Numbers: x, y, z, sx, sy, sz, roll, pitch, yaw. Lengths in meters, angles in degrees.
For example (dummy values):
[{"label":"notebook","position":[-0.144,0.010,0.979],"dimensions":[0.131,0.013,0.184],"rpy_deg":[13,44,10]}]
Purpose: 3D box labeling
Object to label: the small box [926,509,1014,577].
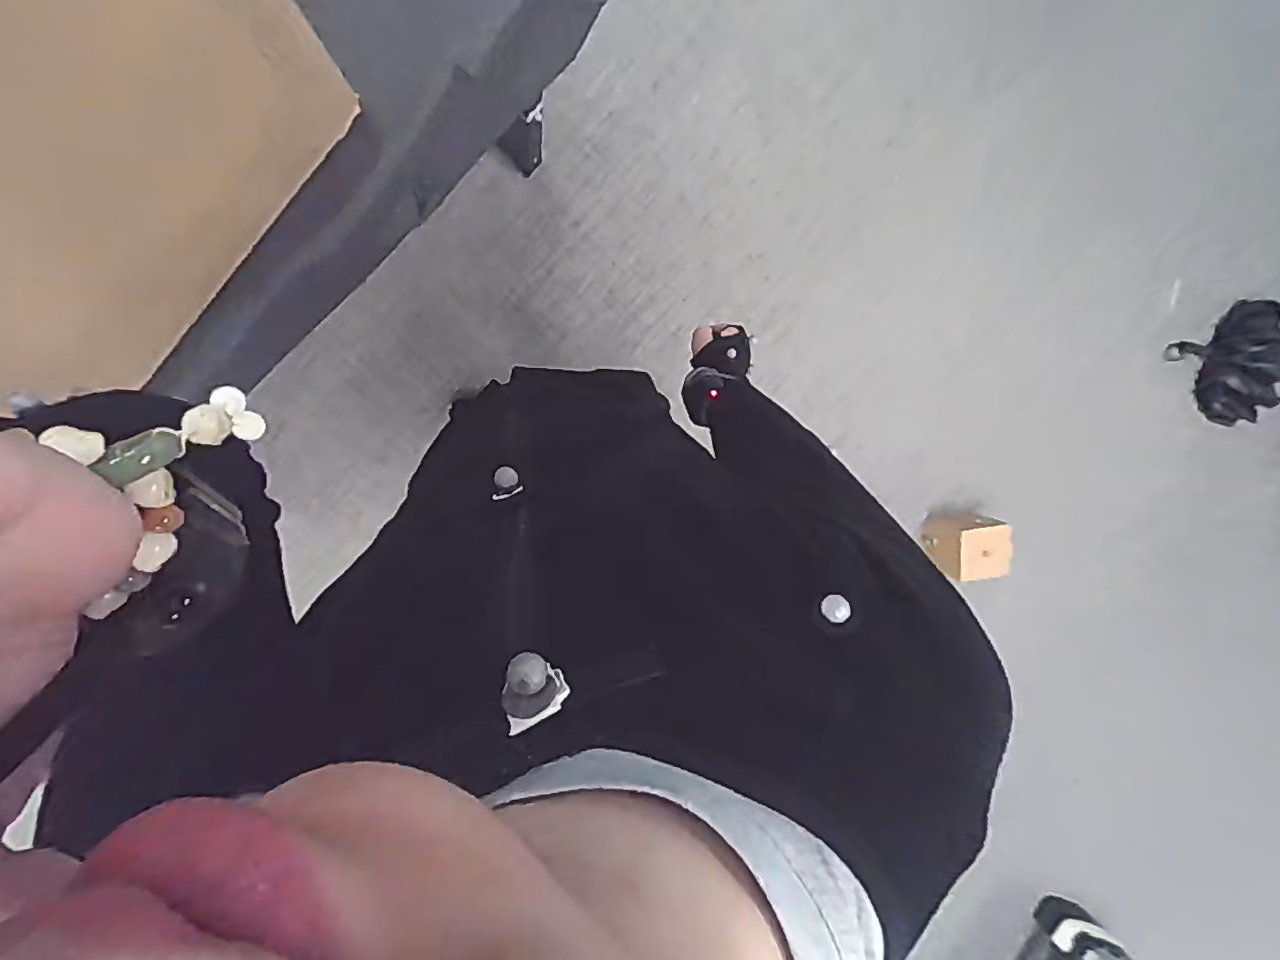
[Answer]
[{"label":"small box","position":[1.051,0.194,1.730],"dimensions":[0.179,0.176,0.168],"rpy_deg":[-7,100,-8]}]
